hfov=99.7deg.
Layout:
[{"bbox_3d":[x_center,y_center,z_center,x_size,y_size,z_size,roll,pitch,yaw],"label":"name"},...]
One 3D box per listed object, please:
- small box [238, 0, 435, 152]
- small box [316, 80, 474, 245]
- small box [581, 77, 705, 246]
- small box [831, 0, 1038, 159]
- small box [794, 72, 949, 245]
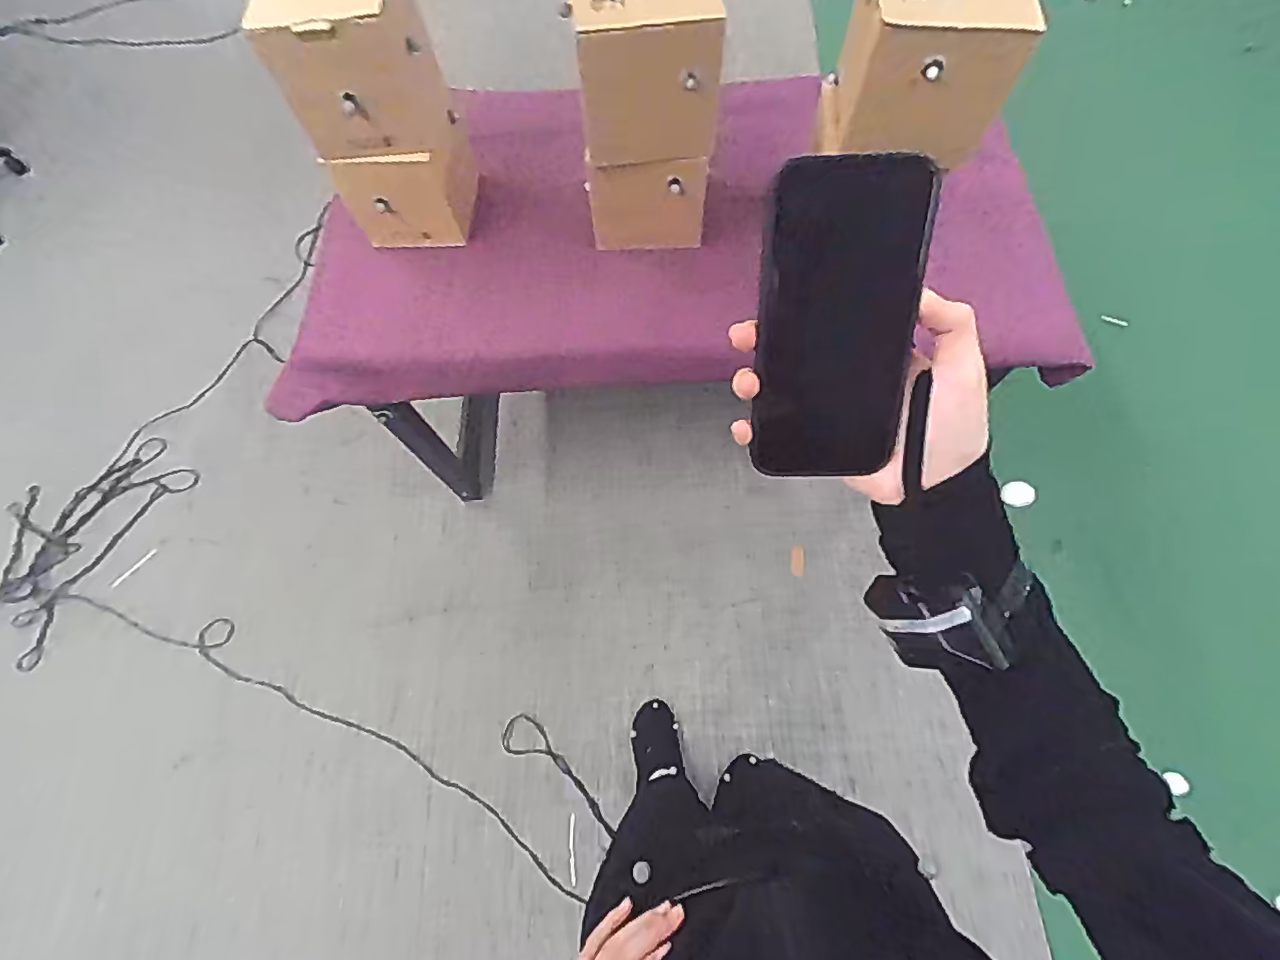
[{"bbox_3d":[-0.392,-0.575,0.733,0.168,0.176,0.179,-5,69,0],"label":"small box"},{"bbox_3d":[-0.384,-0.507,0.882,0.168,0.176,0.179,-1,68,3],"label":"small box"},{"bbox_3d":[0.007,-0.496,0.857,0.179,0.176,0.168,-1,68,3],"label":"small box"},{"bbox_3d":[0.347,-0.537,0.682,0.179,0.176,0.168,4,68,4],"label":"small box"},{"bbox_3d":[0.347,-0.490,0.840,0.179,0.176,0.168,4,68,5],"label":"small box"}]
